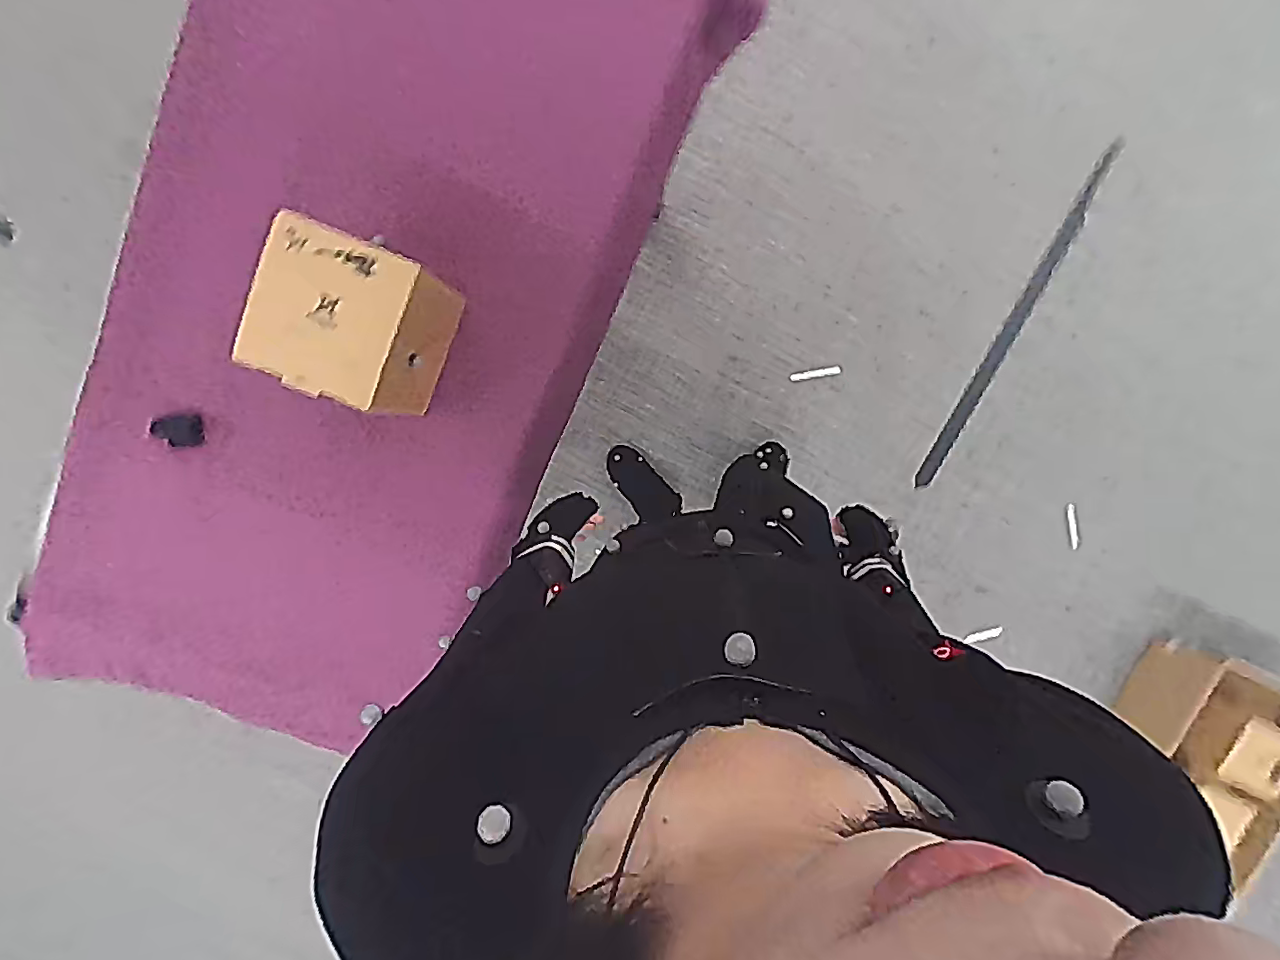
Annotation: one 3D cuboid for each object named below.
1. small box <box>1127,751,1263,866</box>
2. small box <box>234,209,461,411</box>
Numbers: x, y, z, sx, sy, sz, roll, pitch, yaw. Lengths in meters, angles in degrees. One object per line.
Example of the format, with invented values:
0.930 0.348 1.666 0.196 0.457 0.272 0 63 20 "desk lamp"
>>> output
1.493 0.885 1.471 0.168 0.176 0.179 24 93 -3 "small box"
-0.347 -0.194 0.677 0.168 0.176 0.179 22 96 -2 "small box"
